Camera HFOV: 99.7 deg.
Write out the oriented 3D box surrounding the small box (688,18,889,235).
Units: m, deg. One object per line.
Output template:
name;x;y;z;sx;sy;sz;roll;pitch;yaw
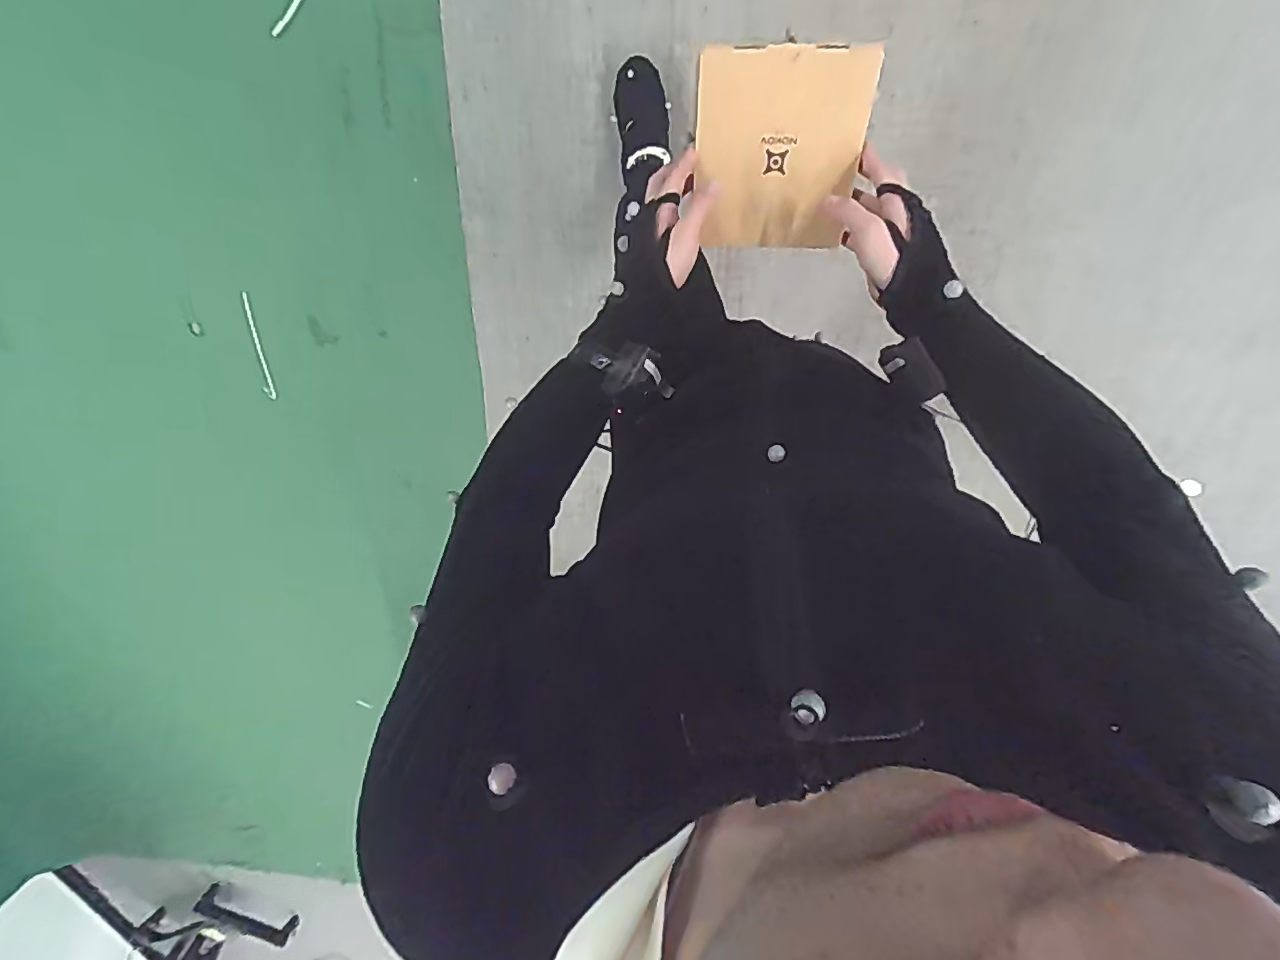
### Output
small box;0.140;-0.380;0.581;0.168;0.176;0.179;3;129;4
